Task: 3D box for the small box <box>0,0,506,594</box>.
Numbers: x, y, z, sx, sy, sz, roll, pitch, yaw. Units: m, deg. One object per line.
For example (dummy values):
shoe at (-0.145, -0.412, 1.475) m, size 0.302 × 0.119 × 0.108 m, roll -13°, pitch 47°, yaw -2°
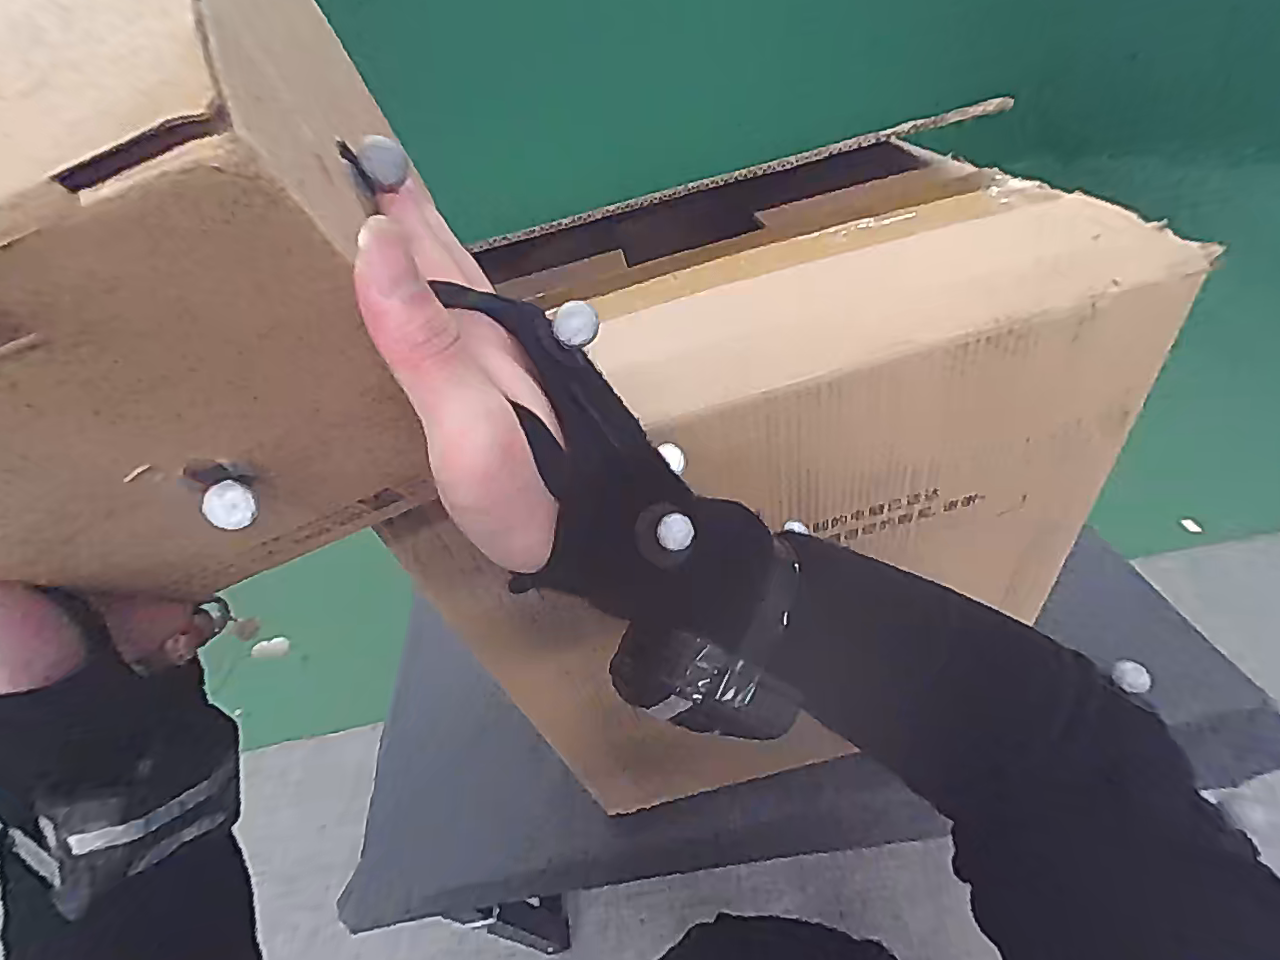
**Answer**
small box at (-0.170, -0.067, 0.196) m, size 0.168 × 0.176 × 0.179 m, roll -24°, pitch 72°, yaw -1°
